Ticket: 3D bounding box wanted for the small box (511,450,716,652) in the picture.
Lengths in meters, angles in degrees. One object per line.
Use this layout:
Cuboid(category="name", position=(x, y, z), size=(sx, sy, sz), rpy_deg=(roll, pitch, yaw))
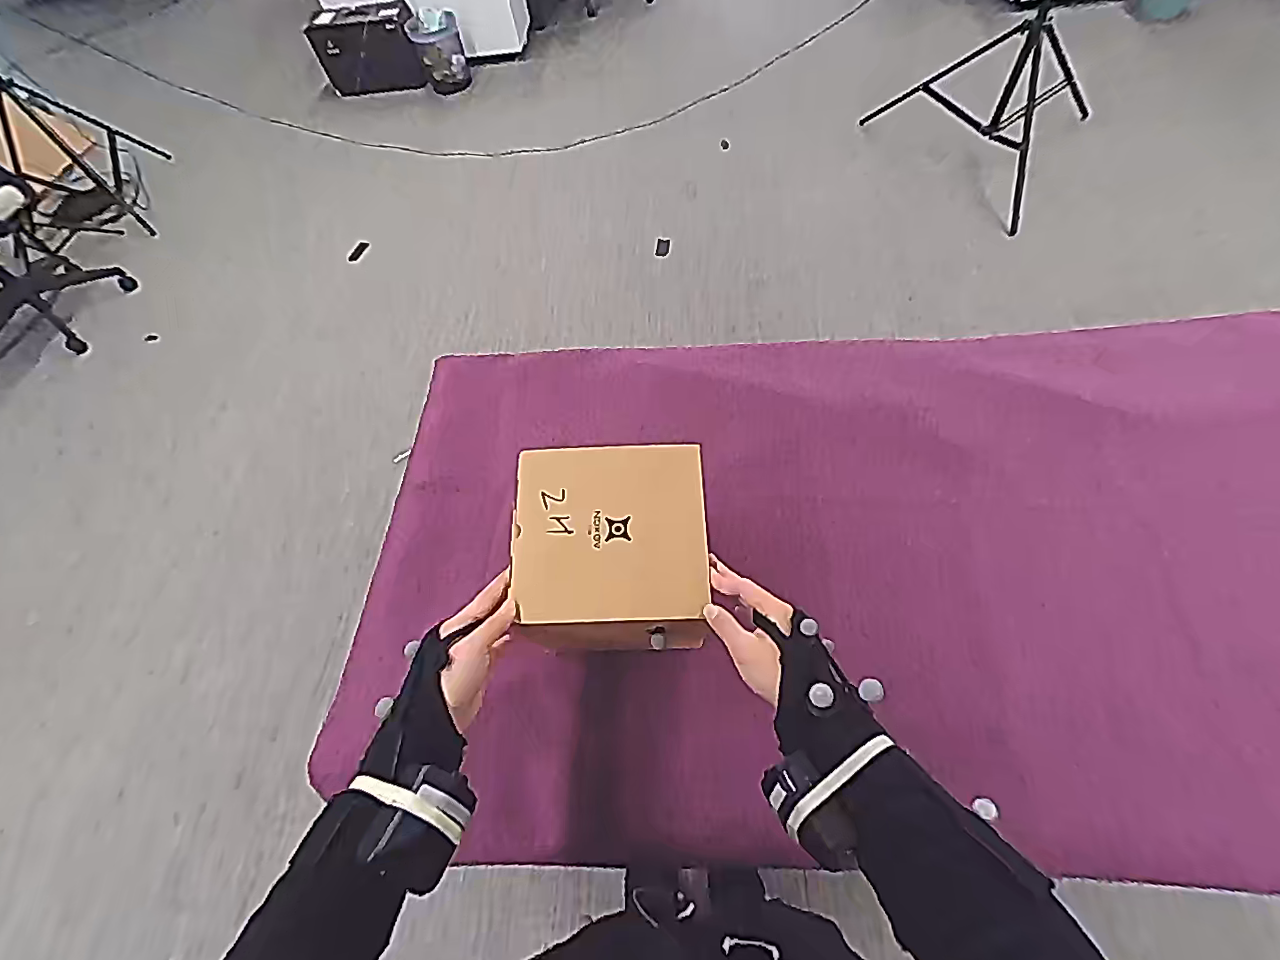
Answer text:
Cuboid(category="small box", position=(-0.022, 0.081, 0.560), size=(0.179, 0.176, 0.168), rpy_deg=(-2, 64, 2))
